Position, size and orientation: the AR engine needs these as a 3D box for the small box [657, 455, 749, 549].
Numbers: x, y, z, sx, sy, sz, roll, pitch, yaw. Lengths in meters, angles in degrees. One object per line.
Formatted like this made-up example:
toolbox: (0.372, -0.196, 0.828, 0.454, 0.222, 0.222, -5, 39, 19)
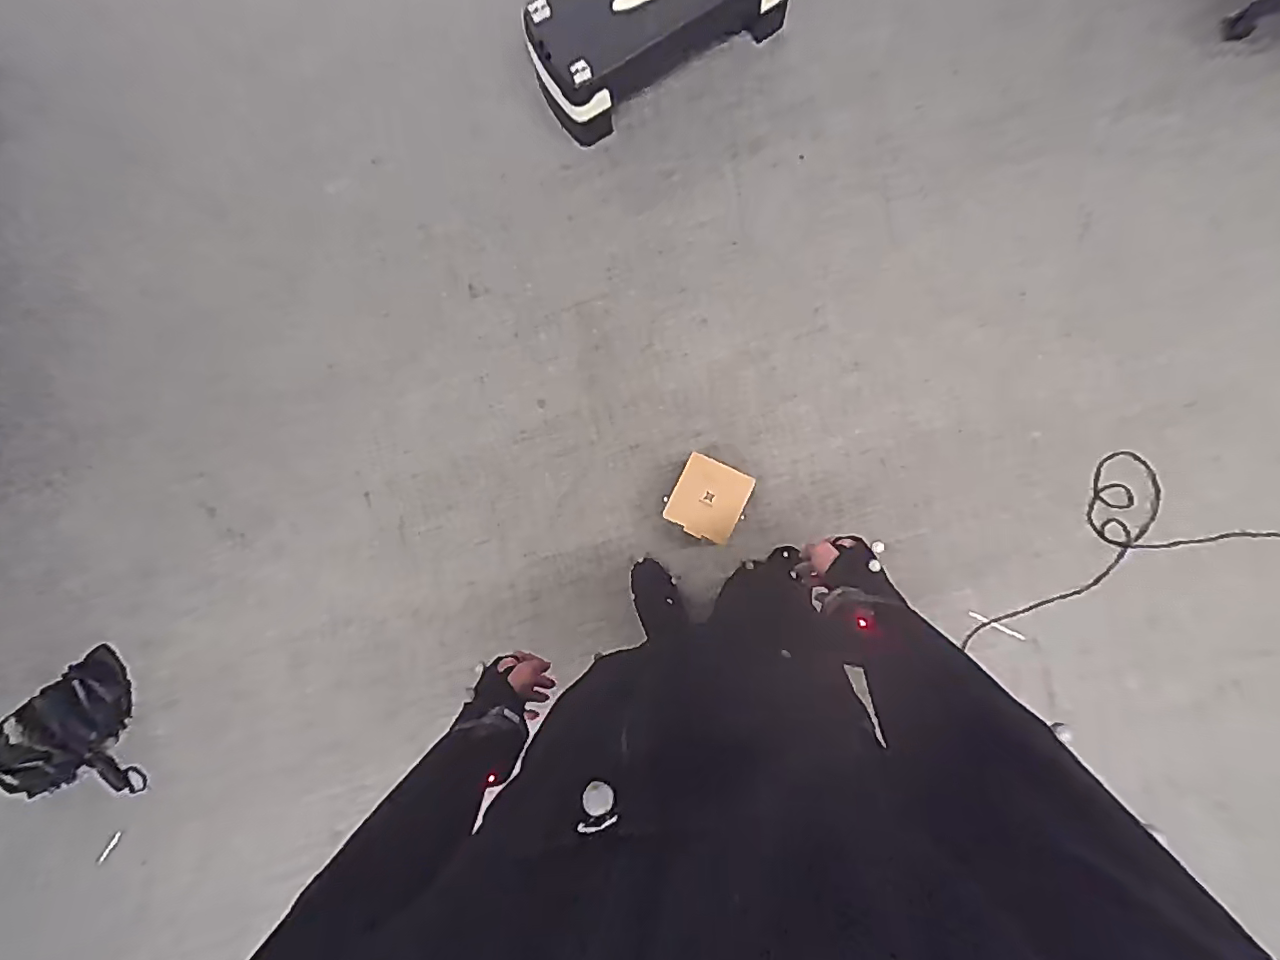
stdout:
small box: (0.155, 0.057, 1.345, 0.168, 0.176, 0.179, 25, 86, 5)
